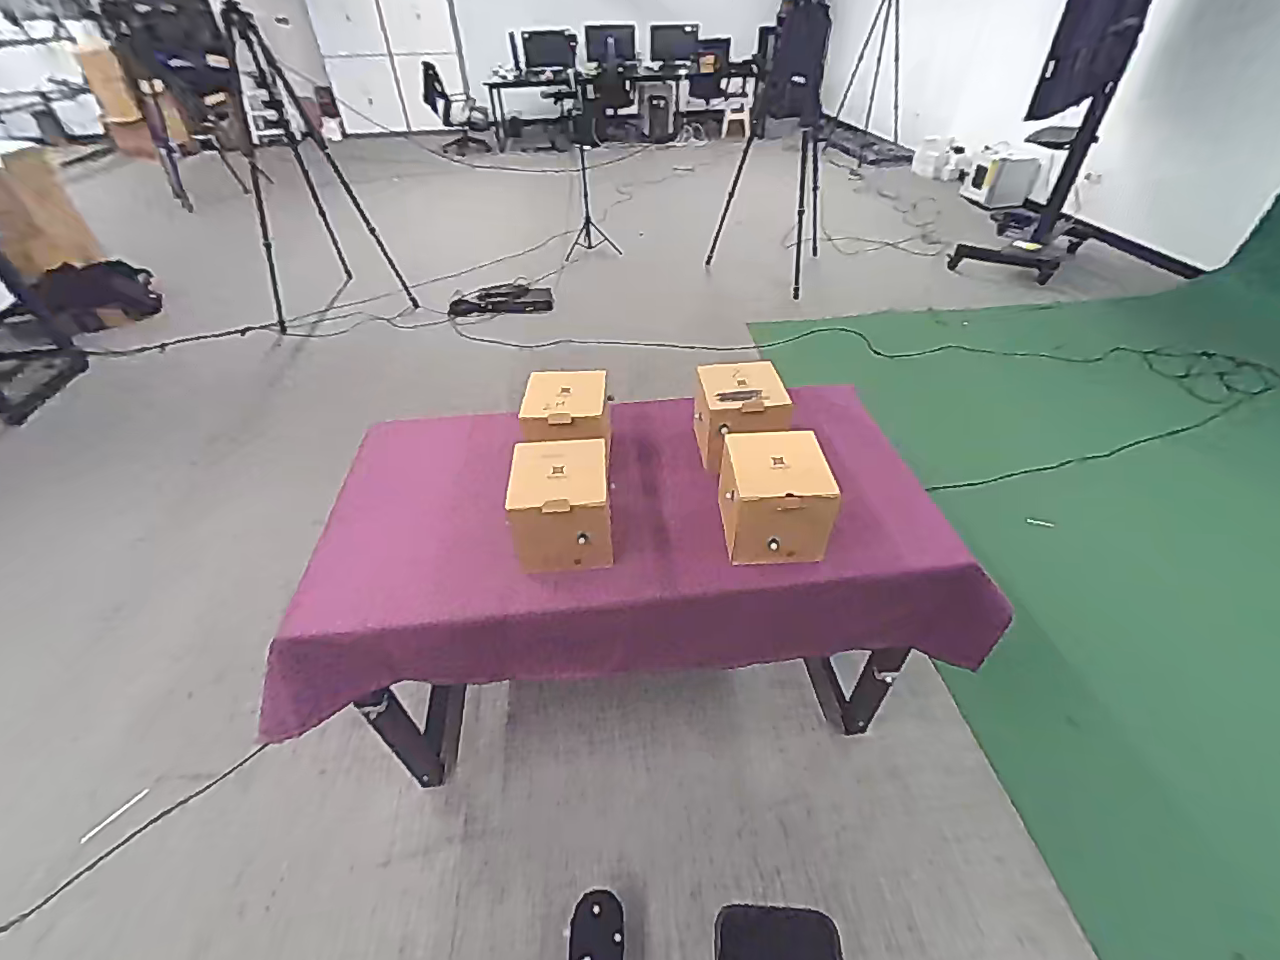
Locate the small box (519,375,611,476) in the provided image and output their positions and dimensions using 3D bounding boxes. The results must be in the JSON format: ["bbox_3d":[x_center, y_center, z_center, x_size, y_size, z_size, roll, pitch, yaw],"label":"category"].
[{"bbox_3d":[-0.152,-0.111,1.166,0.168,0.176,0.179,-1,42,2],"label":"small box"}]

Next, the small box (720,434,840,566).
[{"bbox_3d":[0.241,0.035,0.984,0.168,0.176,0.179,-3,42,0],"label":"small box"}]

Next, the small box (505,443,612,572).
[{"bbox_3d":[-0.138,0.054,0.983,0.168,0.176,0.179,-3,41,-2],"label":"small box"}]
